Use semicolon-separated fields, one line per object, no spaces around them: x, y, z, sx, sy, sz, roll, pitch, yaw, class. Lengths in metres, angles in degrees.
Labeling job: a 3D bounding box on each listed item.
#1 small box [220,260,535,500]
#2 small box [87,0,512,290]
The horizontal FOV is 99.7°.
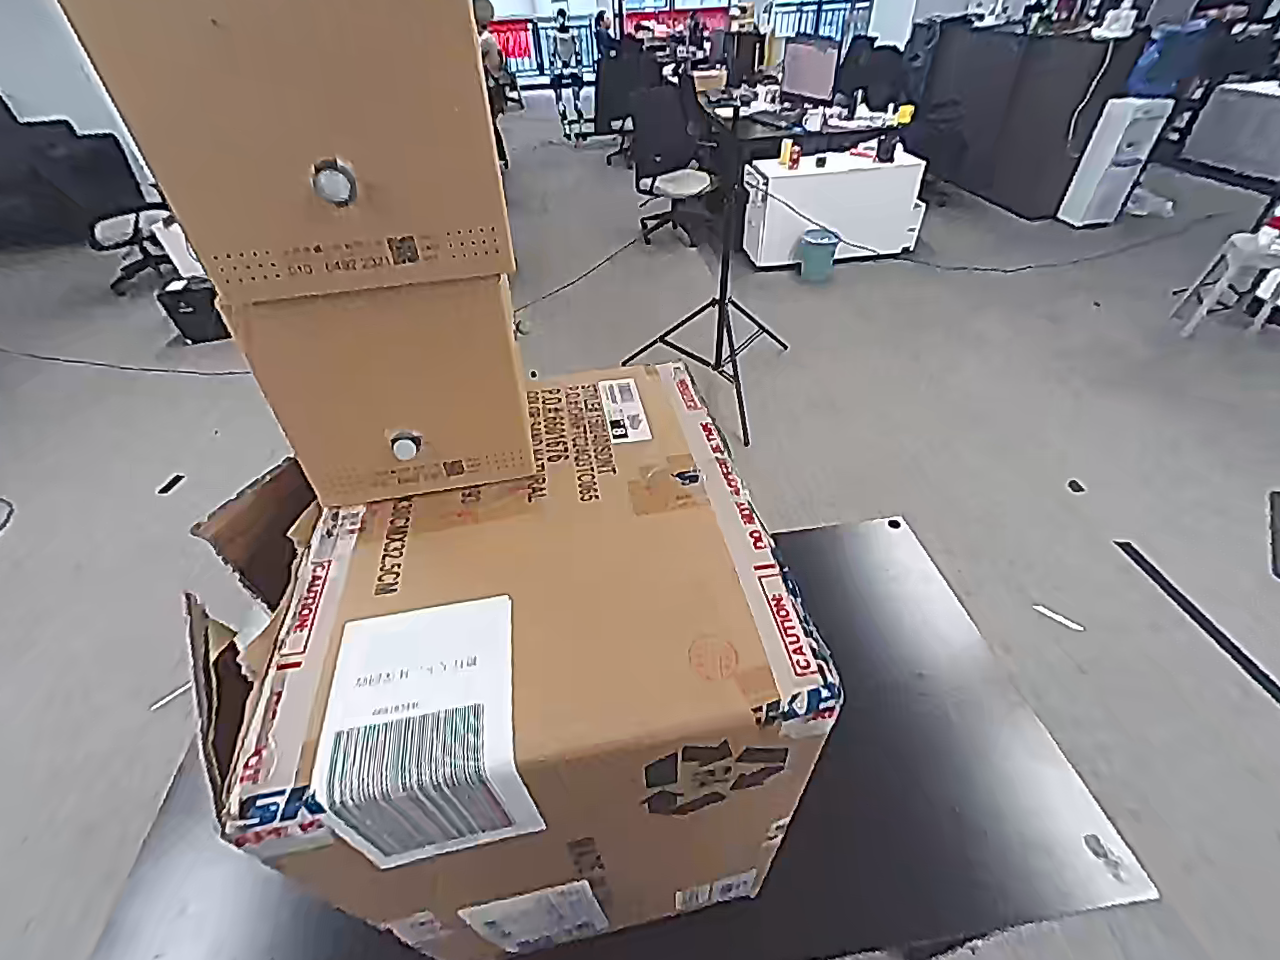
-0.183;-0.109;0.440;0.168;0.176;0.179;-10;41;-9;small box
-0.178;-0.231;0.328;0.168;0.176;0.179;-11;41;-10;small box
